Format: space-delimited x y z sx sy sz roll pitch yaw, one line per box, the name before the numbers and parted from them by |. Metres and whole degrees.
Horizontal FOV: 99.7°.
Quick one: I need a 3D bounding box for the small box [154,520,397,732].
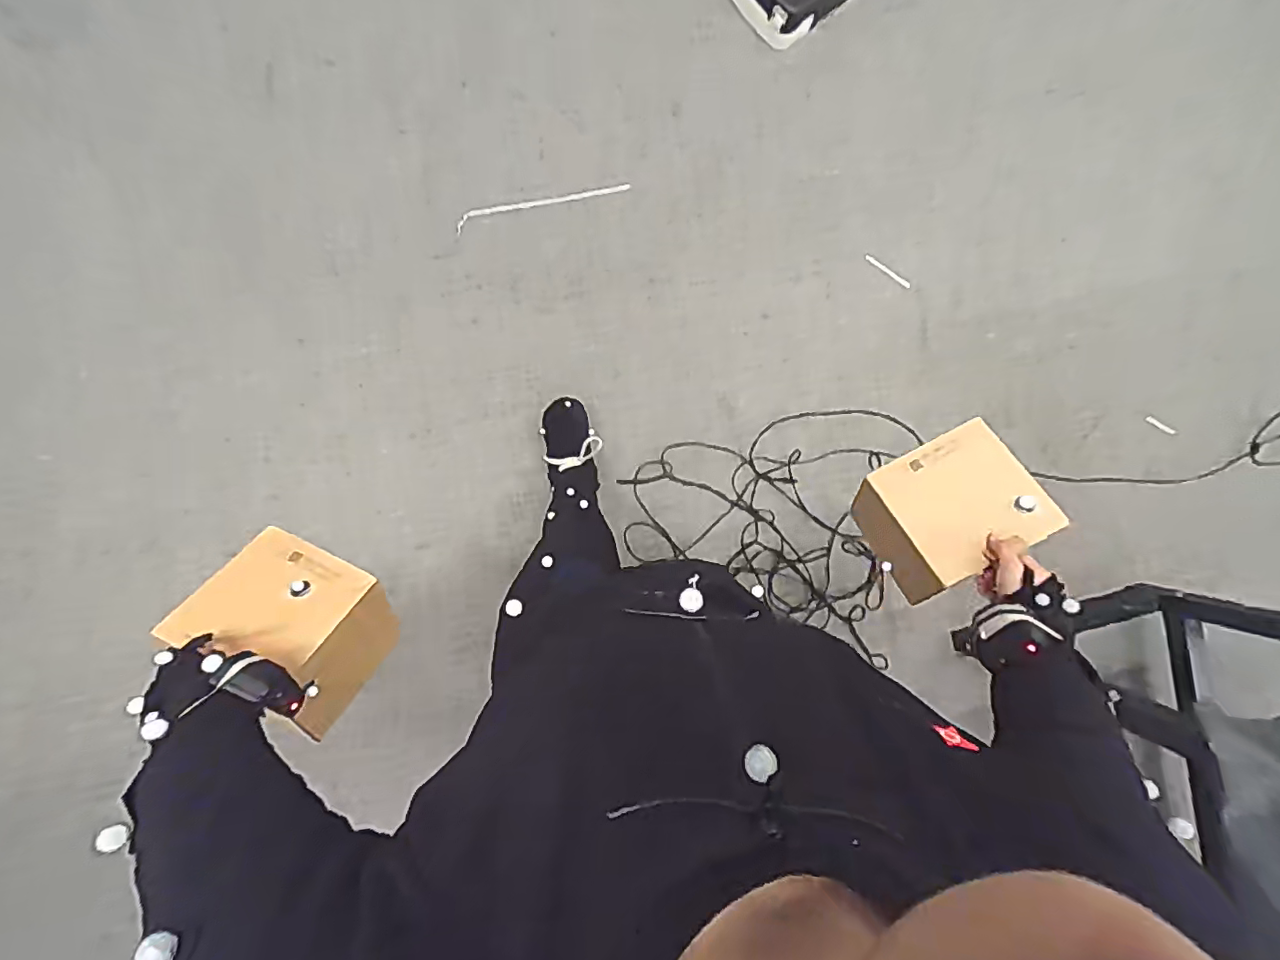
small box | -0.442 0.185 0.695 0.168 0.179 0.176 24 50 8
